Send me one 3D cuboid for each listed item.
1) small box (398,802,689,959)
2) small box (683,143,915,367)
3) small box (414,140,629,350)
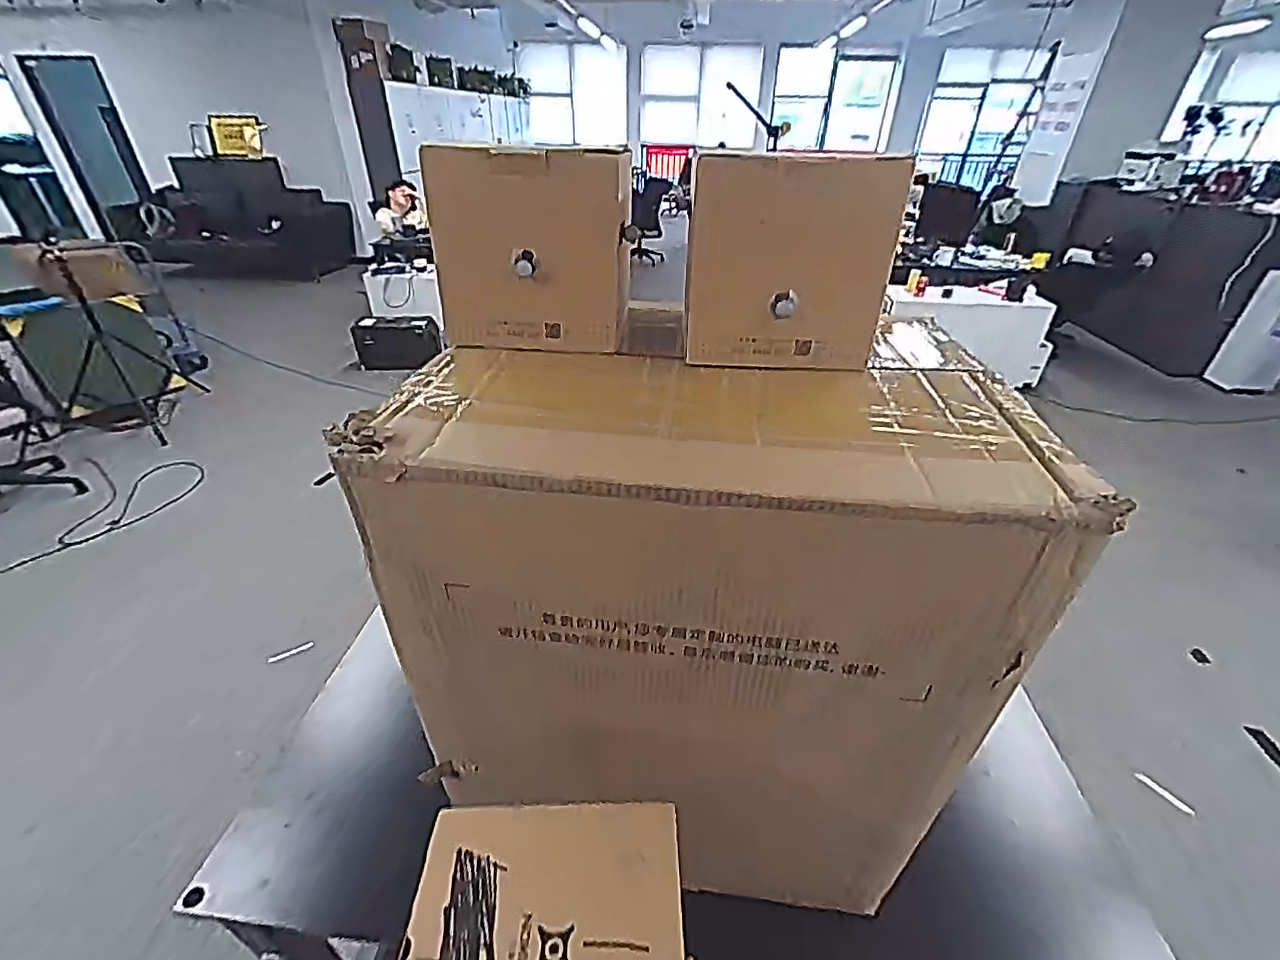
[{"bbox_3d":[-0.054,0.347,0.365,0.179,0.176,0.168,-2,33,1],"label":"small box"},{"bbox_3d":[0.128,-0.218,0.517,0.168,0.176,0.179,2,32,3],"label":"small box"},{"bbox_3d":[-0.098,-0.237,0.541,0.168,0.176,0.179,3,33,1],"label":"small box"}]
